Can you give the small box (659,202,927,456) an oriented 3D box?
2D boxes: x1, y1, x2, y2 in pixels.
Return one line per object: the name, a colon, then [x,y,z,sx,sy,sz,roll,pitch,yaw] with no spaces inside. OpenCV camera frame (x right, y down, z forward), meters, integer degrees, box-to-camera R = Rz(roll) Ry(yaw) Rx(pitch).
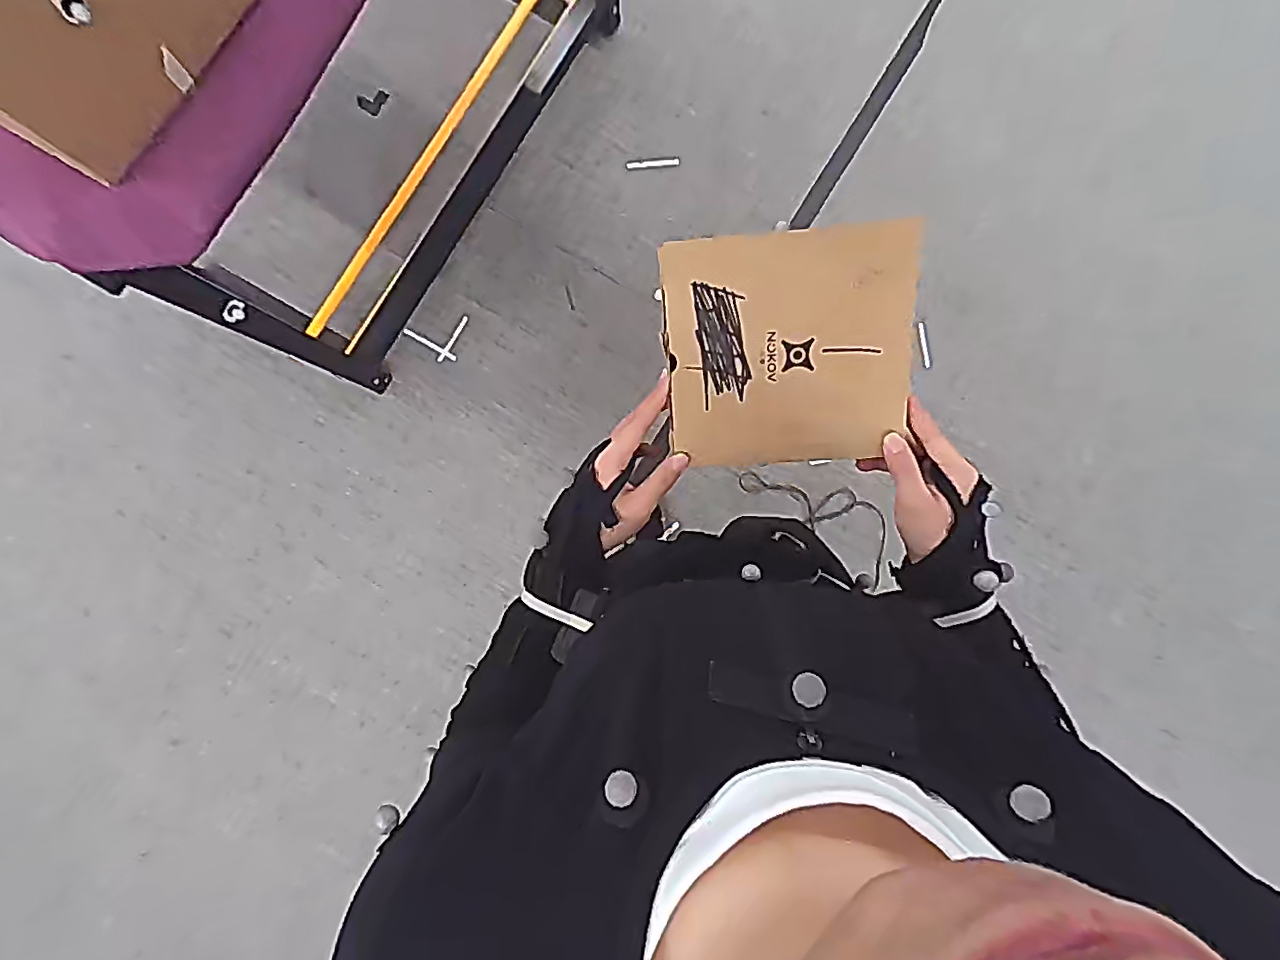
small box: [0.114,-0.123,0.457,0.179,0.176,0.168,-4,108,6]
